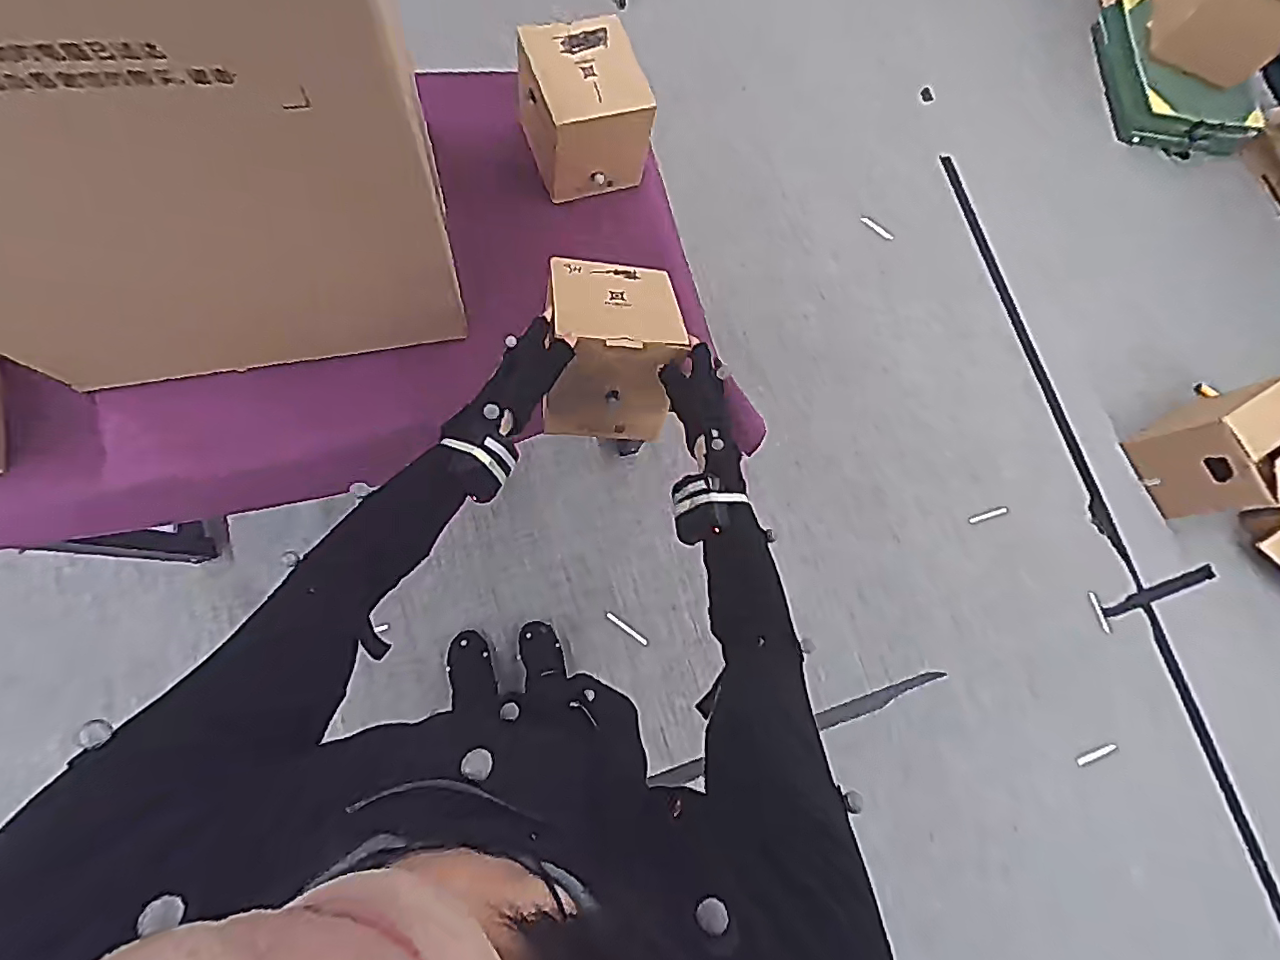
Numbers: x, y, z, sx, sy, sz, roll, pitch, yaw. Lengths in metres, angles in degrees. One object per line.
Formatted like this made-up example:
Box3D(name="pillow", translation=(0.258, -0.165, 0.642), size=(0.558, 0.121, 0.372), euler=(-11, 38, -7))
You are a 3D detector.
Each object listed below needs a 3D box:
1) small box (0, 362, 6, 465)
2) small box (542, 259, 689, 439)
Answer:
Box3D(name="small box", translation=(-0.906, -0.097, 0.626), size=(0.168, 0.176, 0.179), euler=(-12, 78, -16))
Box3D(name="small box", translation=(-0.045, -0.173, 0.746), size=(0.168, 0.176, 0.179), euler=(3, 50, -14))
